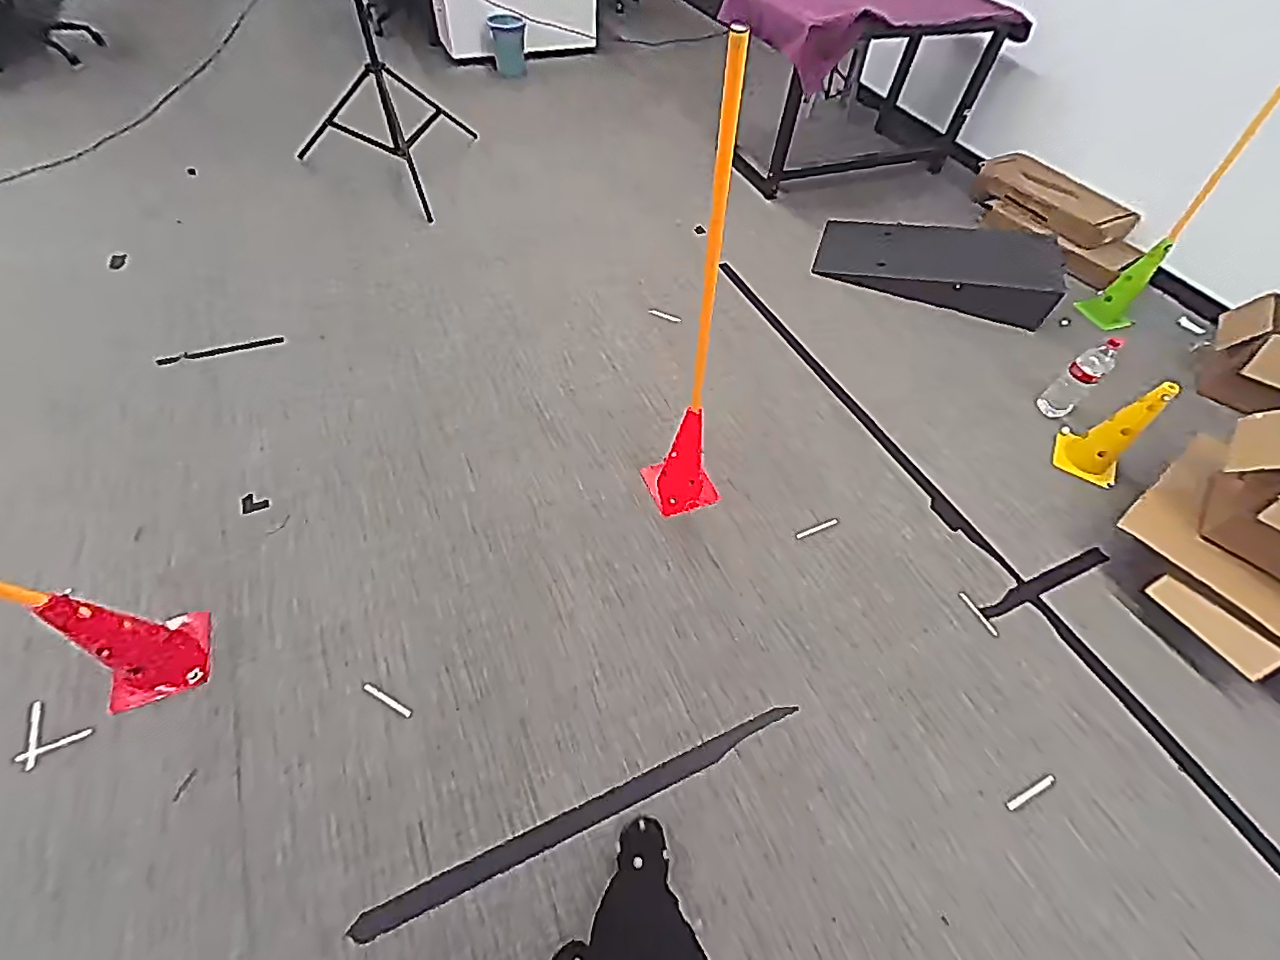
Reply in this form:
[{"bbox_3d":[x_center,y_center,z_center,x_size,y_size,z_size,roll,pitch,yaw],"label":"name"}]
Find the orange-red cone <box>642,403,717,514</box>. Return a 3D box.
[{"bbox_3d":[0.135,-0.090,1.568,0.199,0.360,0.198,-15,57,-16],"label":"orange-red cone"}]
